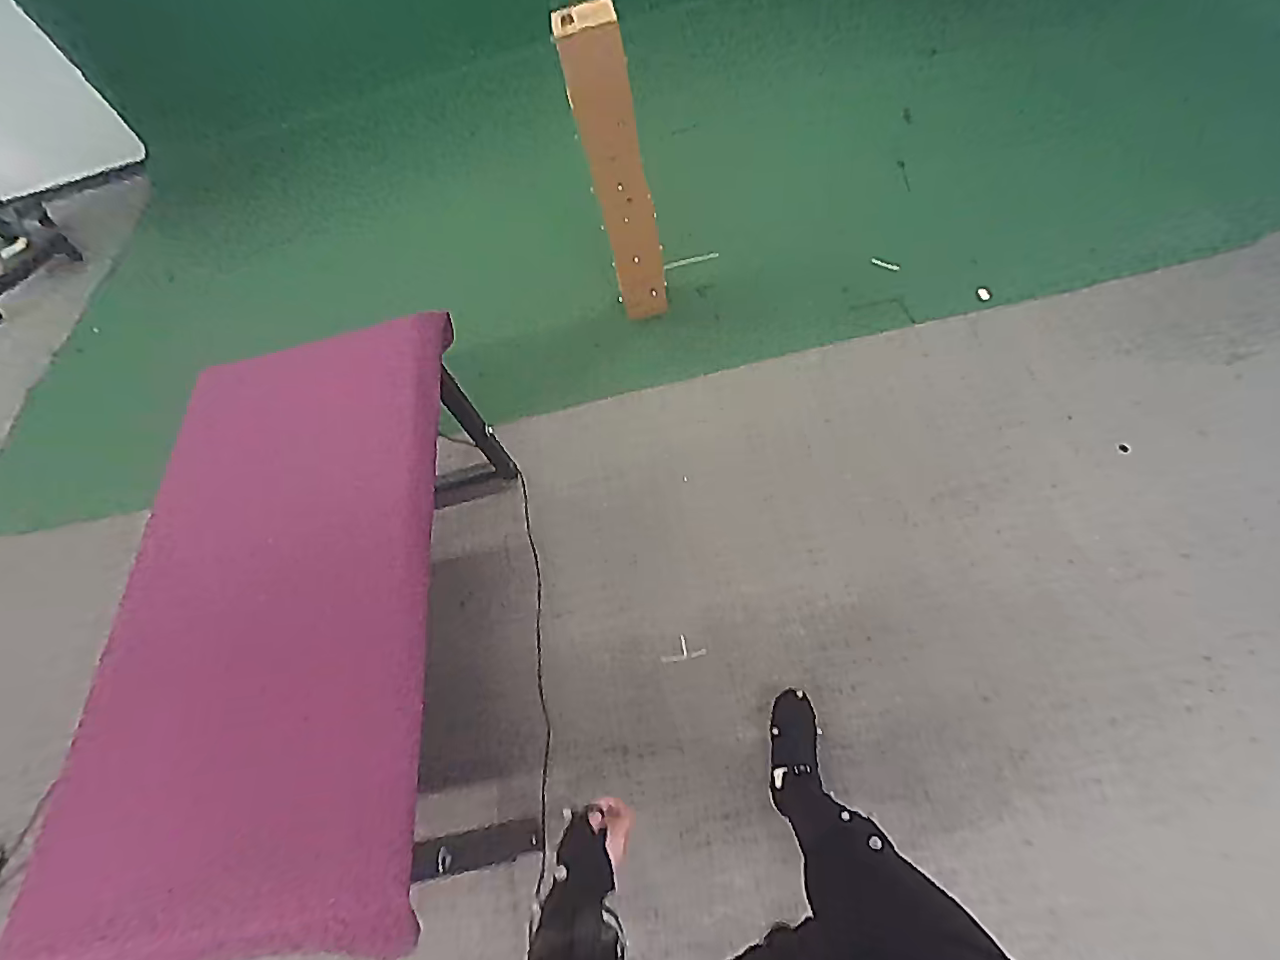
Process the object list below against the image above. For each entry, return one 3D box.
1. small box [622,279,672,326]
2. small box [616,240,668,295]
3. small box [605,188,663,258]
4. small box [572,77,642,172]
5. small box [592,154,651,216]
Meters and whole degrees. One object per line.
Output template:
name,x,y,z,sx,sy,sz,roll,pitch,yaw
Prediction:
small box,0.030,-0.764,2.223,0.179,0.176,0.168,-13,58,5
small box,0.005,-0.849,2.087,0.179,0.176,0.168,-15,58,4
small box,-0.029,-0.932,1.950,0.179,0.176,0.168,-16,58,2
small box,-0.097,-1.099,1.677,0.179,0.176,0.168,-15,57,5
small box,-0.068,-1.013,1.814,0.168,0.176,0.179,-15,59,4
